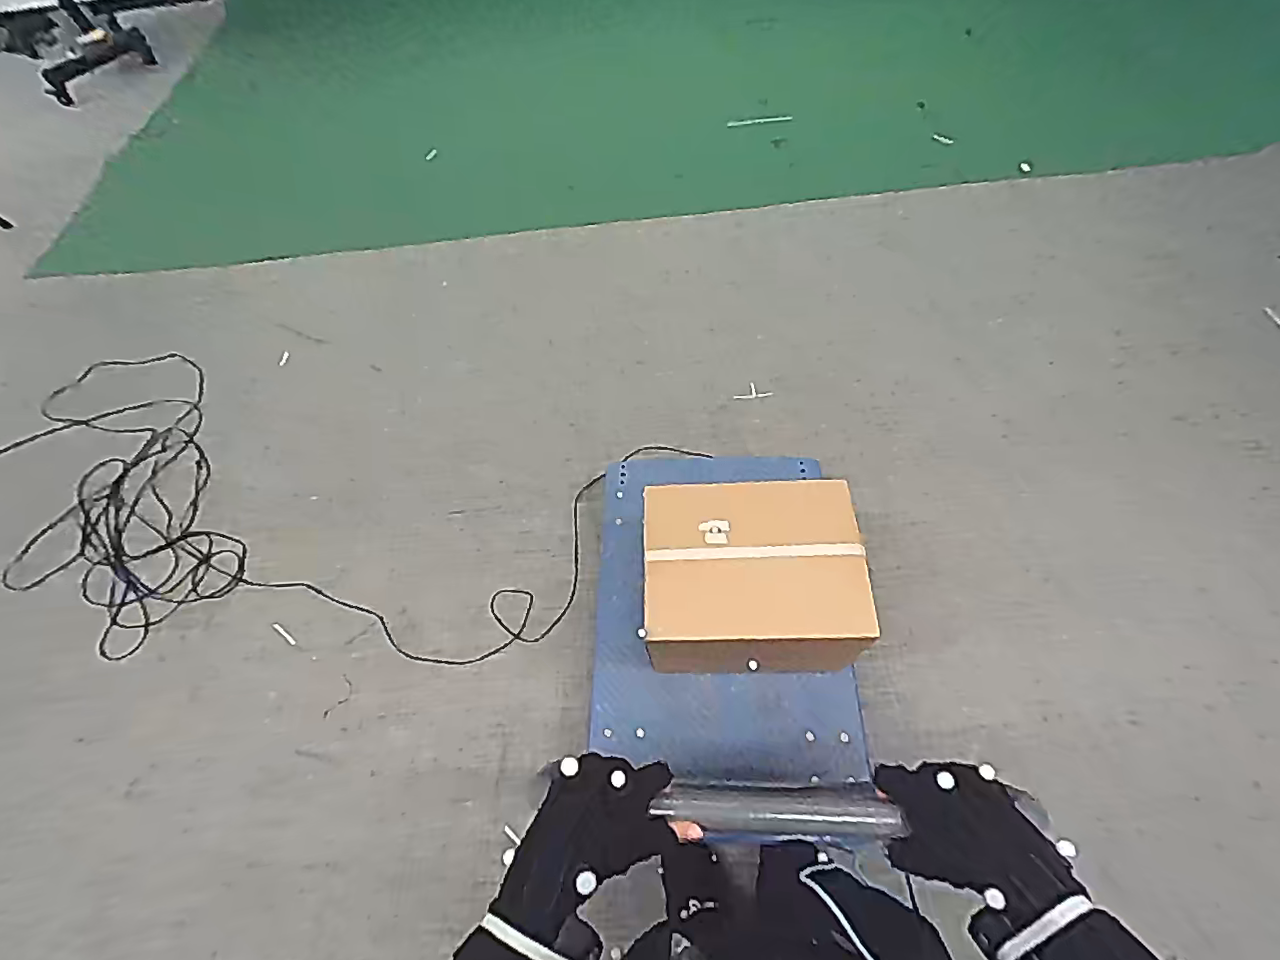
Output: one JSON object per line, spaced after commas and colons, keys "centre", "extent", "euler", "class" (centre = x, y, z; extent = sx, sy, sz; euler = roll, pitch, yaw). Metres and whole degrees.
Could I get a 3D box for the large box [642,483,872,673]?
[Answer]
{"centre": [0.221, 0.223, 1.150], "extent": [0.408, 0.320, 0.320], "euler": [-3, 59, 5], "class": "large box"}
